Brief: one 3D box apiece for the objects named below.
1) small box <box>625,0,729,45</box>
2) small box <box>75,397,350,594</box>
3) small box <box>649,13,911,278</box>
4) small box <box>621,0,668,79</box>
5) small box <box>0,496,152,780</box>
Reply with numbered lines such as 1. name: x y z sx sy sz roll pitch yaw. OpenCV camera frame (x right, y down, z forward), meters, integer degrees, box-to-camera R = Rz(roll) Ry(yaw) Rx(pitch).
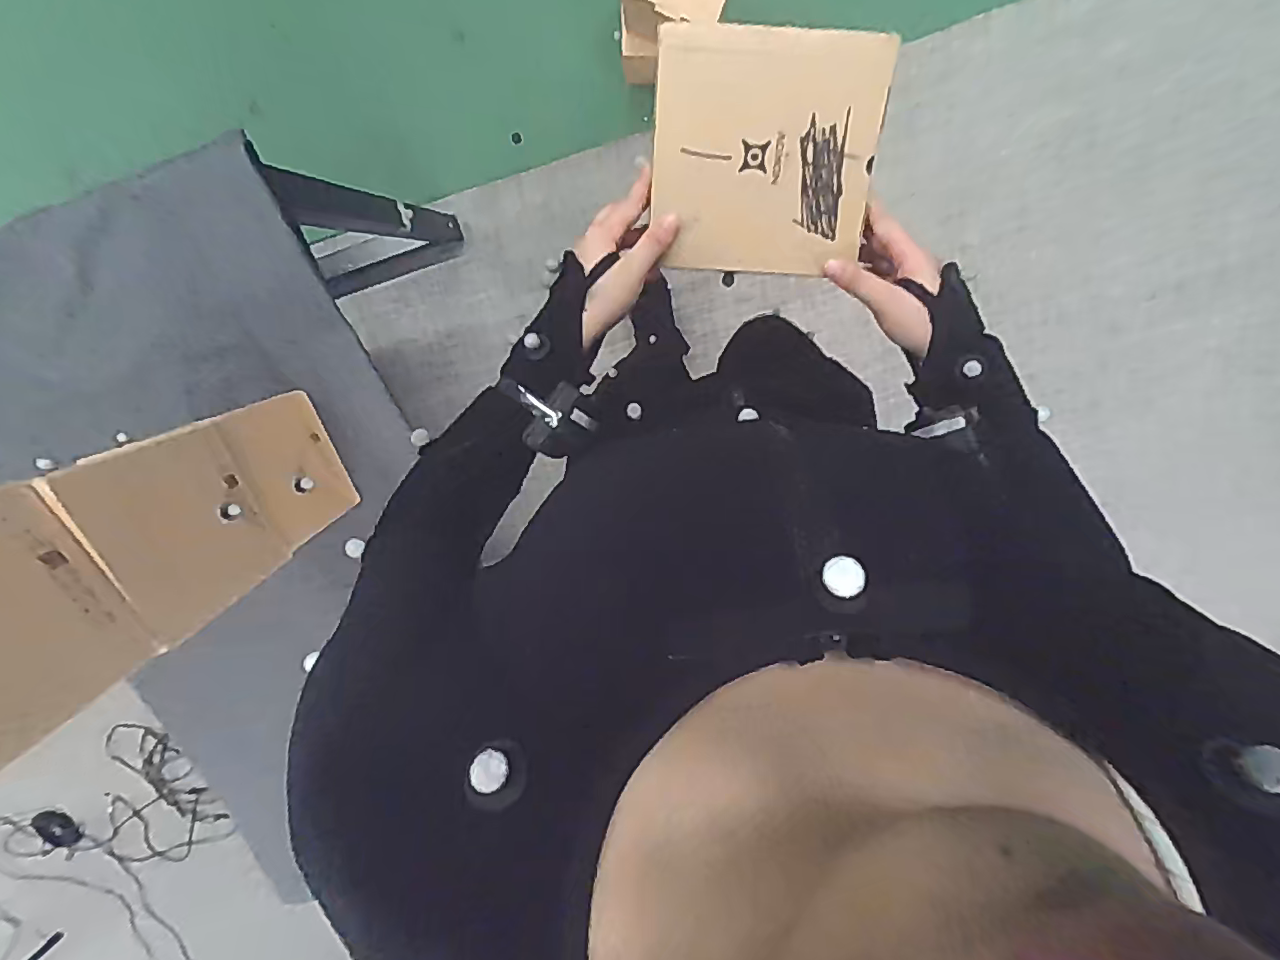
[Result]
1. small box: 0.078 -0.863 0.921 0.168 0.176 0.179 19 110 -8
2. small box: -0.493 0.009 0.663 0.179 0.176 0.168 -15 110 8
3. small box: 0.102 -0.279 0.484 0.179 0.176 0.168 3 113 -1
4. small box: 0.049 -0.920 1.075 0.168 0.176 0.179 0 111 0
5. small box: -0.502 0.132 0.358 0.179 0.176 0.168 -18 110 10
